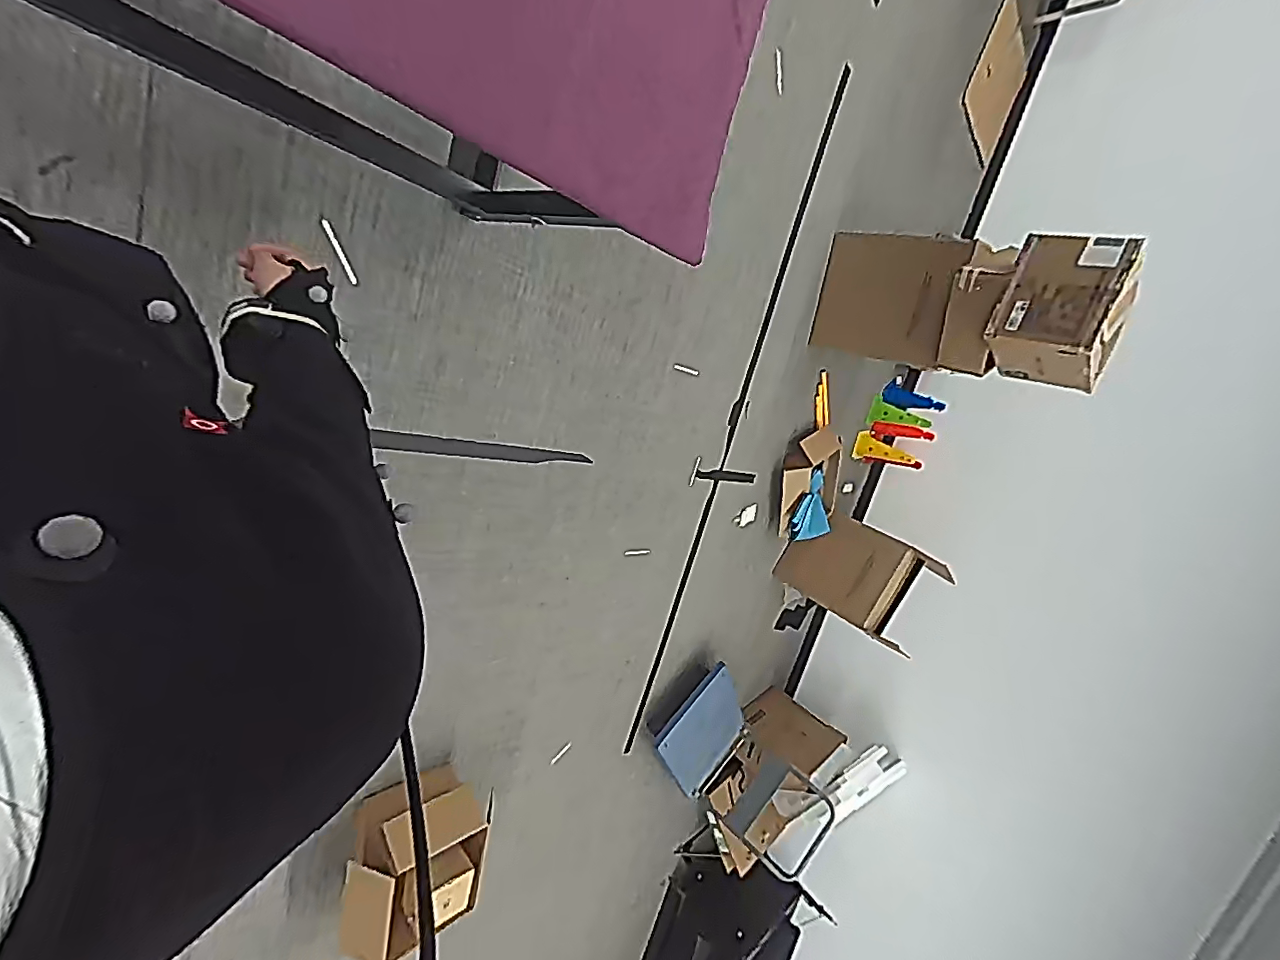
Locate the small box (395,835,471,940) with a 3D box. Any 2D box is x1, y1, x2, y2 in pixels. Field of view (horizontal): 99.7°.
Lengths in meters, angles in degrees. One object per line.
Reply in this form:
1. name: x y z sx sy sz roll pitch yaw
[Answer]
1. small box: -0.678 1.313 1.755 0.168 0.176 0.179 -1 110 -48
